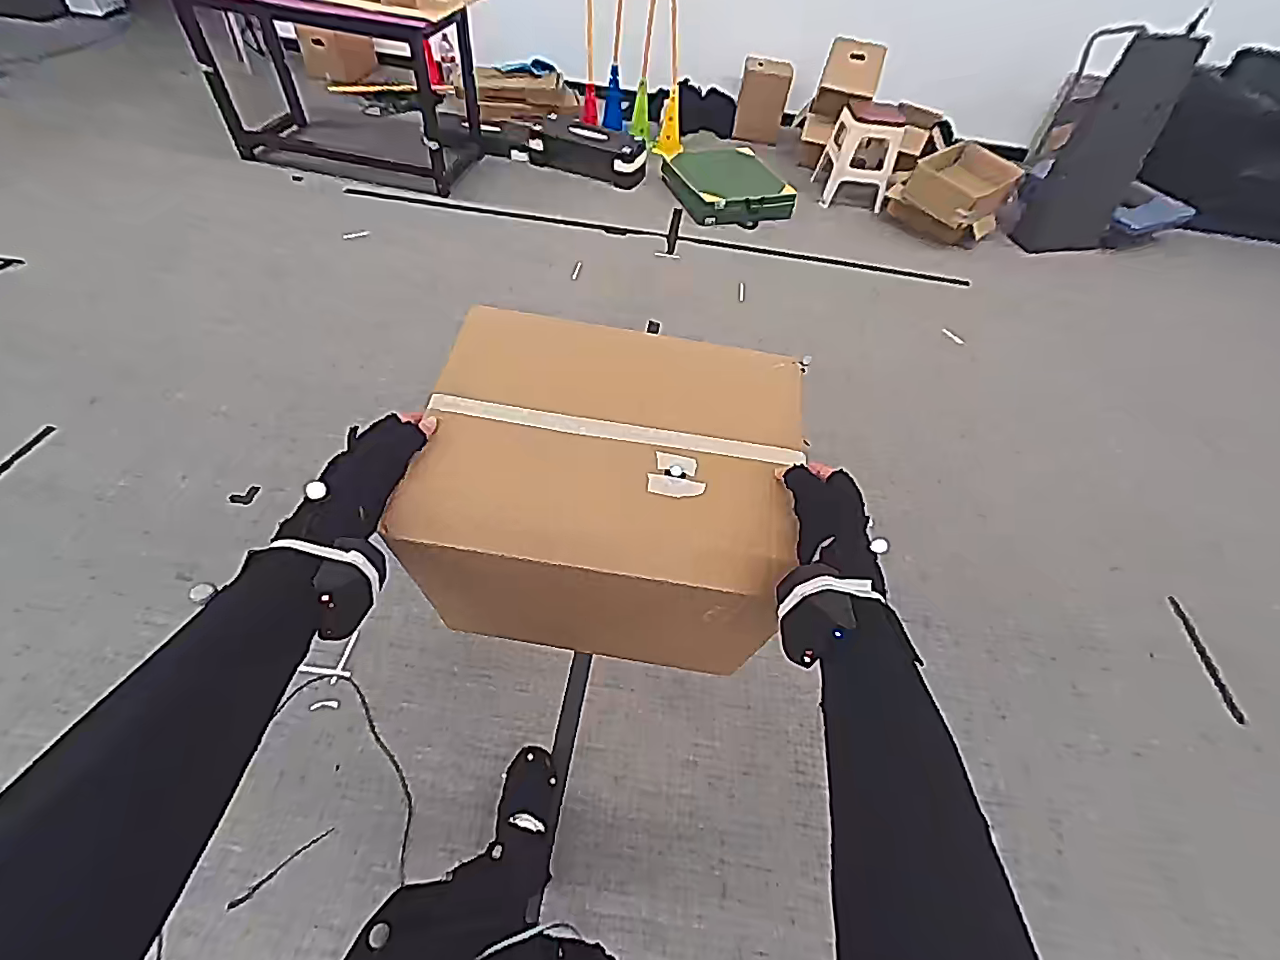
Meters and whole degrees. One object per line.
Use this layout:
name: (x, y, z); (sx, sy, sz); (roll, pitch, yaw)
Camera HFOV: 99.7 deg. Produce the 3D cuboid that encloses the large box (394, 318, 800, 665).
large box: (-0.040, 0.032, 0.721); (0.408, 0.320, 0.320); (10, 59, -1)
